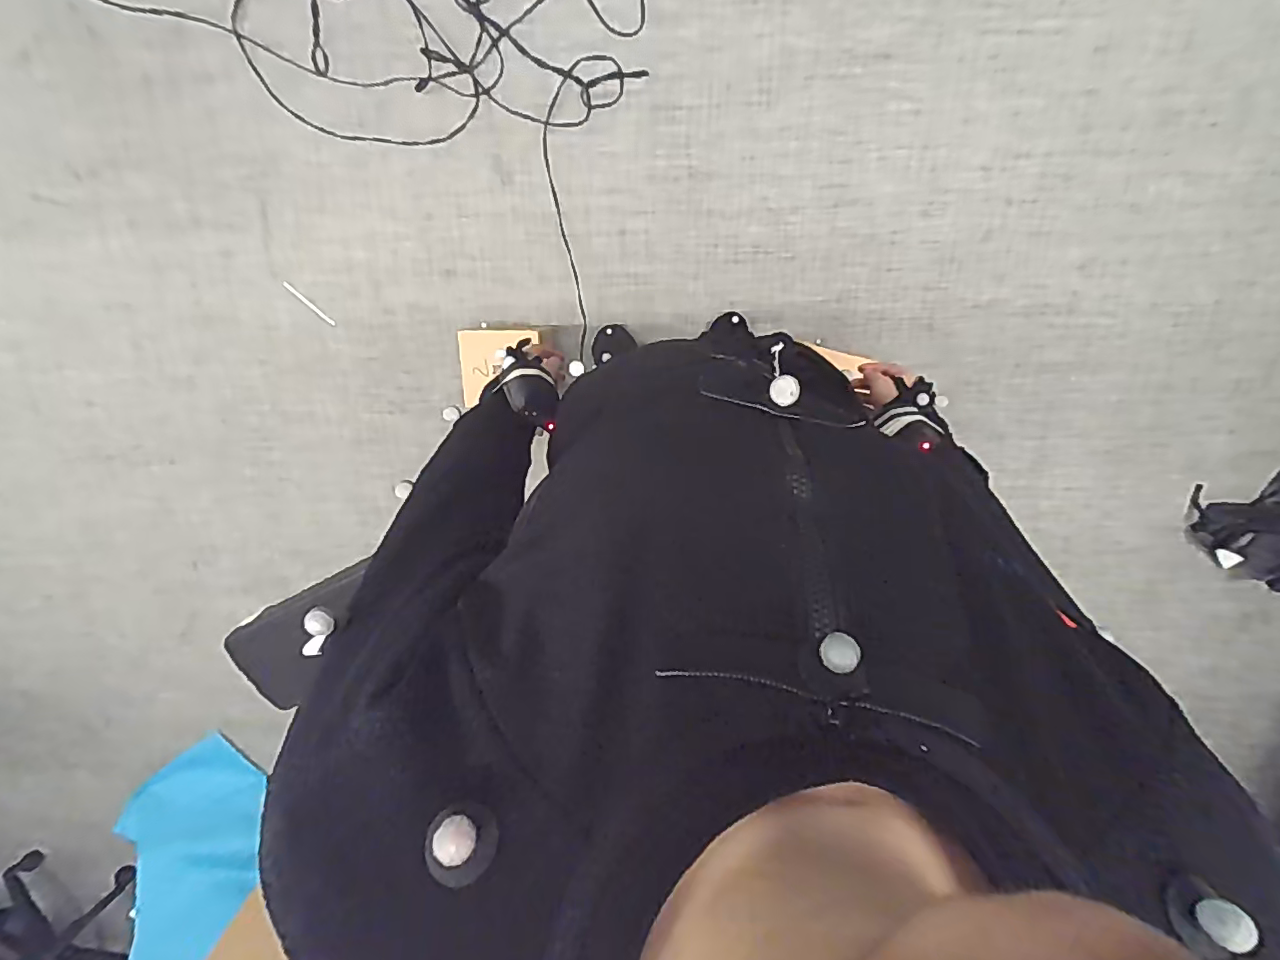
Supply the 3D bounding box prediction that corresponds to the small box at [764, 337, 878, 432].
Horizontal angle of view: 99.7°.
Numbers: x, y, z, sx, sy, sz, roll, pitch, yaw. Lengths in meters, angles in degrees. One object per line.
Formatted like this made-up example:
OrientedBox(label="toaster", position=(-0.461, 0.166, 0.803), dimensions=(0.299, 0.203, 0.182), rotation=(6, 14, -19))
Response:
OrientedBox(label="small box", position=(0.400, -0.223, 1.229), dimensions=(0.179, 0.176, 0.168), rotation=(13, 109, -2))
